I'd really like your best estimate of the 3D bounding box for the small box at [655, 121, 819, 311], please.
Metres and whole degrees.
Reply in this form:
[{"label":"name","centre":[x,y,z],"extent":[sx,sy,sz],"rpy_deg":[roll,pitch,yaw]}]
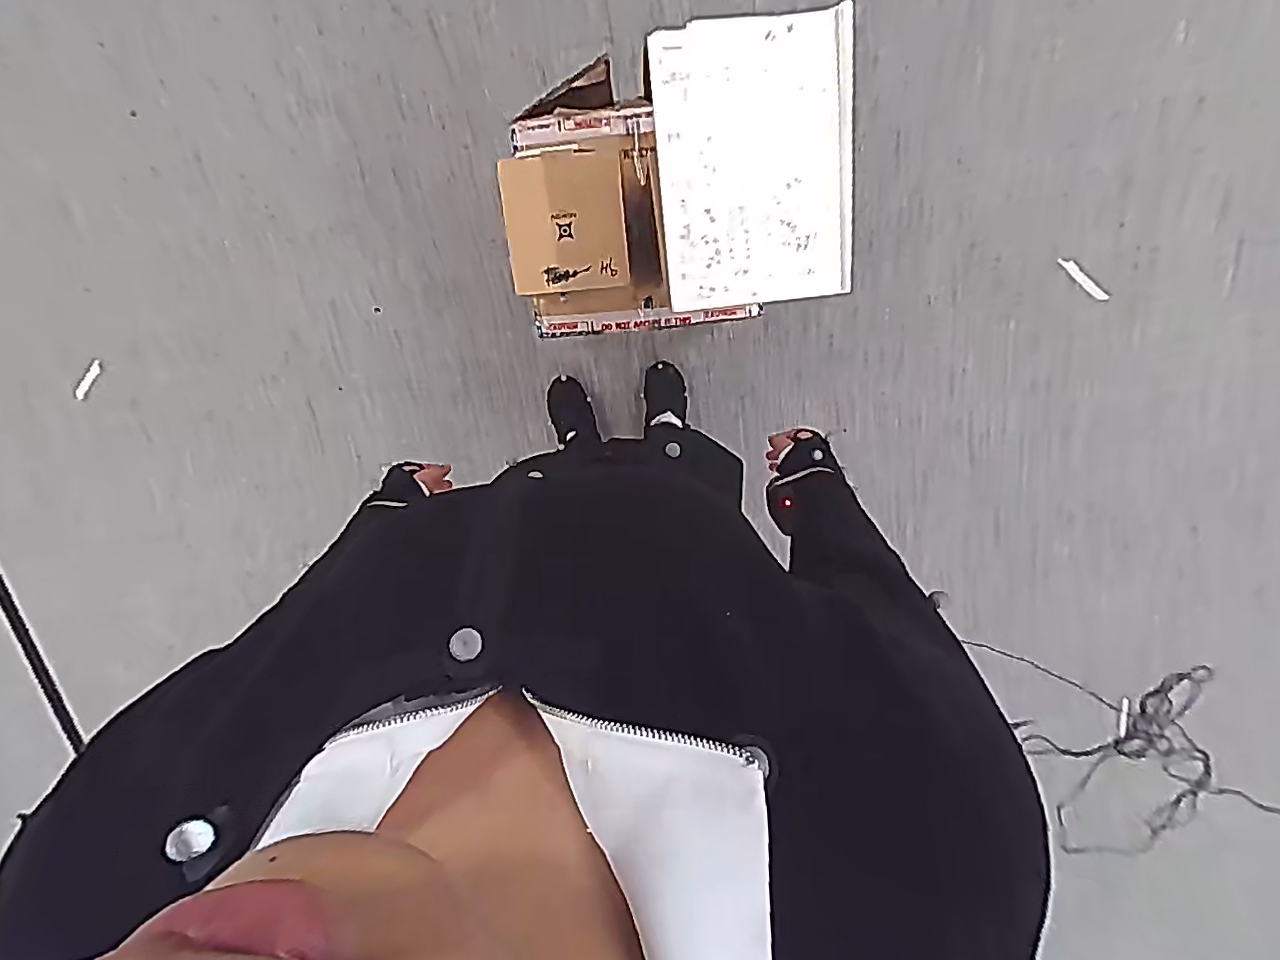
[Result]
[{"label":"small box","centre":[0.110,-0.307,0.664],"extent":[0.168,0.176,0.179],"rpy_deg":[-6,107,0]}]
